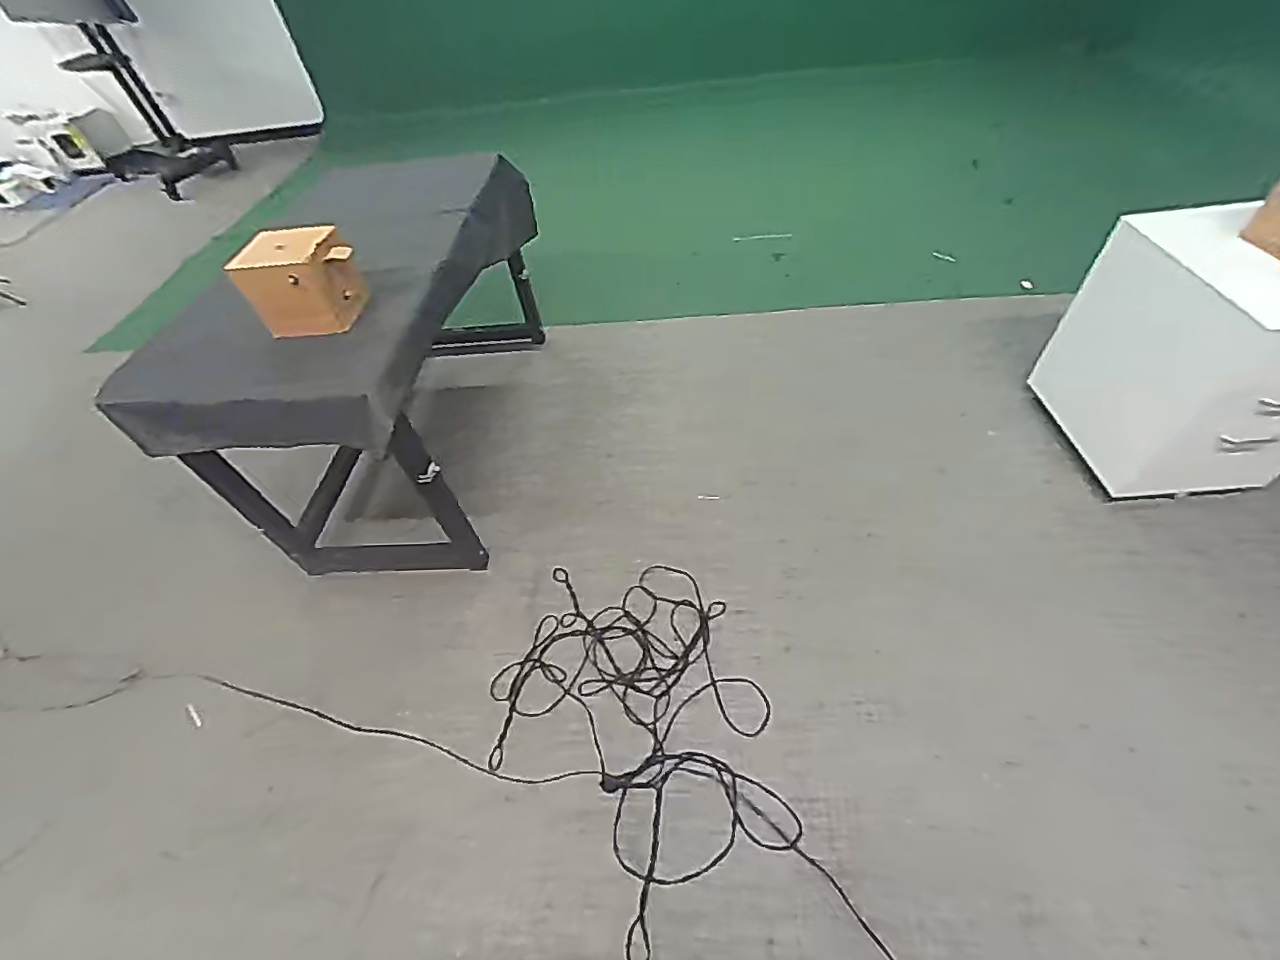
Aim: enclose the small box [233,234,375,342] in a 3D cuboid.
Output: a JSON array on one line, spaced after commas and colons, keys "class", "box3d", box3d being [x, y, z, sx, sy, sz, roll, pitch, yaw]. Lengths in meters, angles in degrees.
[{"class": "small box", "box3d": [-0.735, -0.422, 1.204, 0.179, 0.176, 0.168, -3, 49, 5]}]
